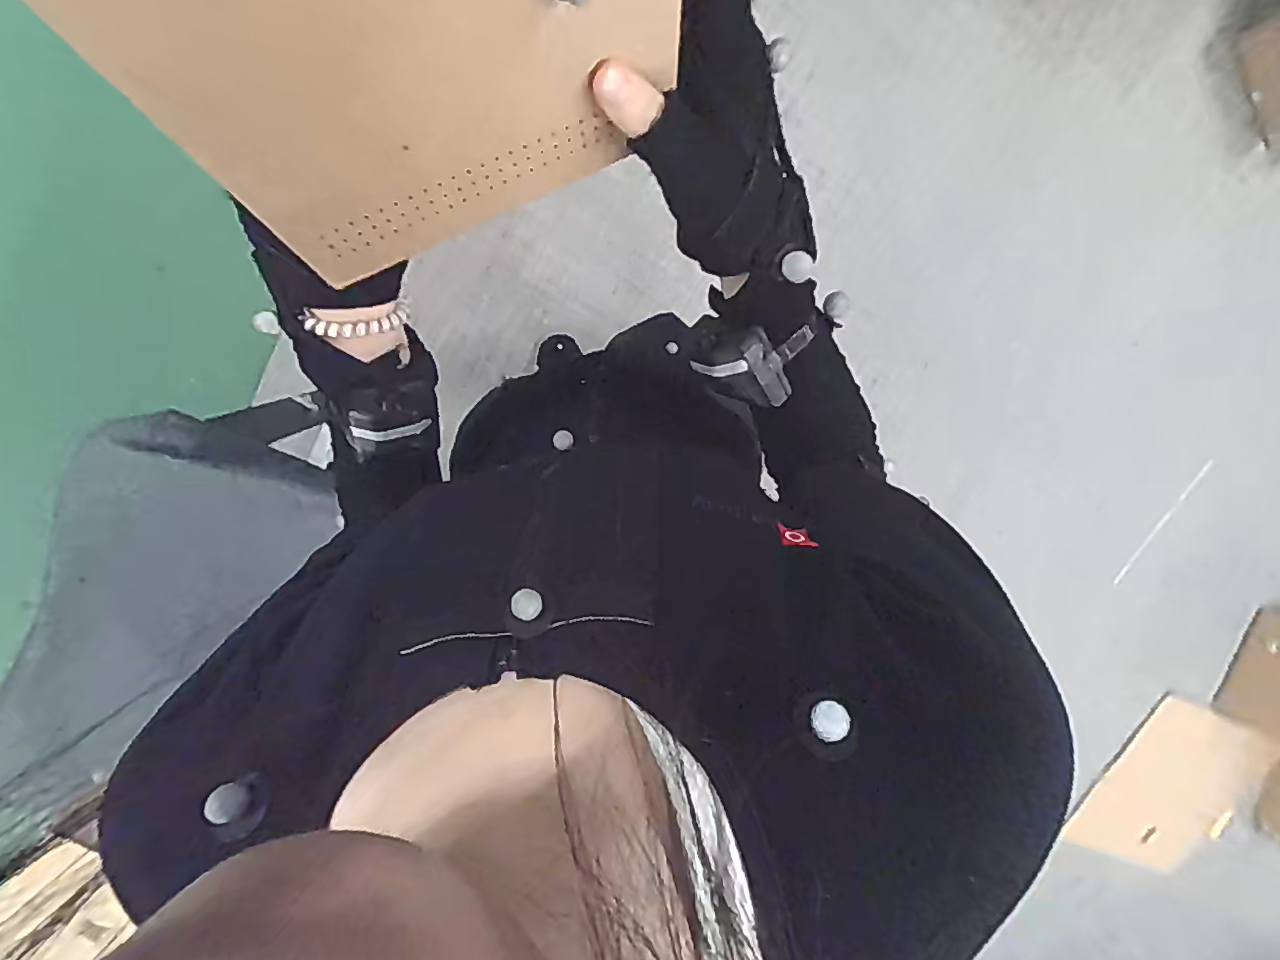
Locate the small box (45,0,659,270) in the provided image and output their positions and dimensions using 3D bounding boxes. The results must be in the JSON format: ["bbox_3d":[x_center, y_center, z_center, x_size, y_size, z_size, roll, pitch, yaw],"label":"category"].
[{"bbox_3d":[-0.099,-0.214,0.191,0.179,0.176,0.168,-26,79,-3],"label":"small box"}]

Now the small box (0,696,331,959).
[{"bbox_3d":[-0.470,0.365,0.564,0.179,0.176,0.168,38,99,-14],"label":"small box"}]
